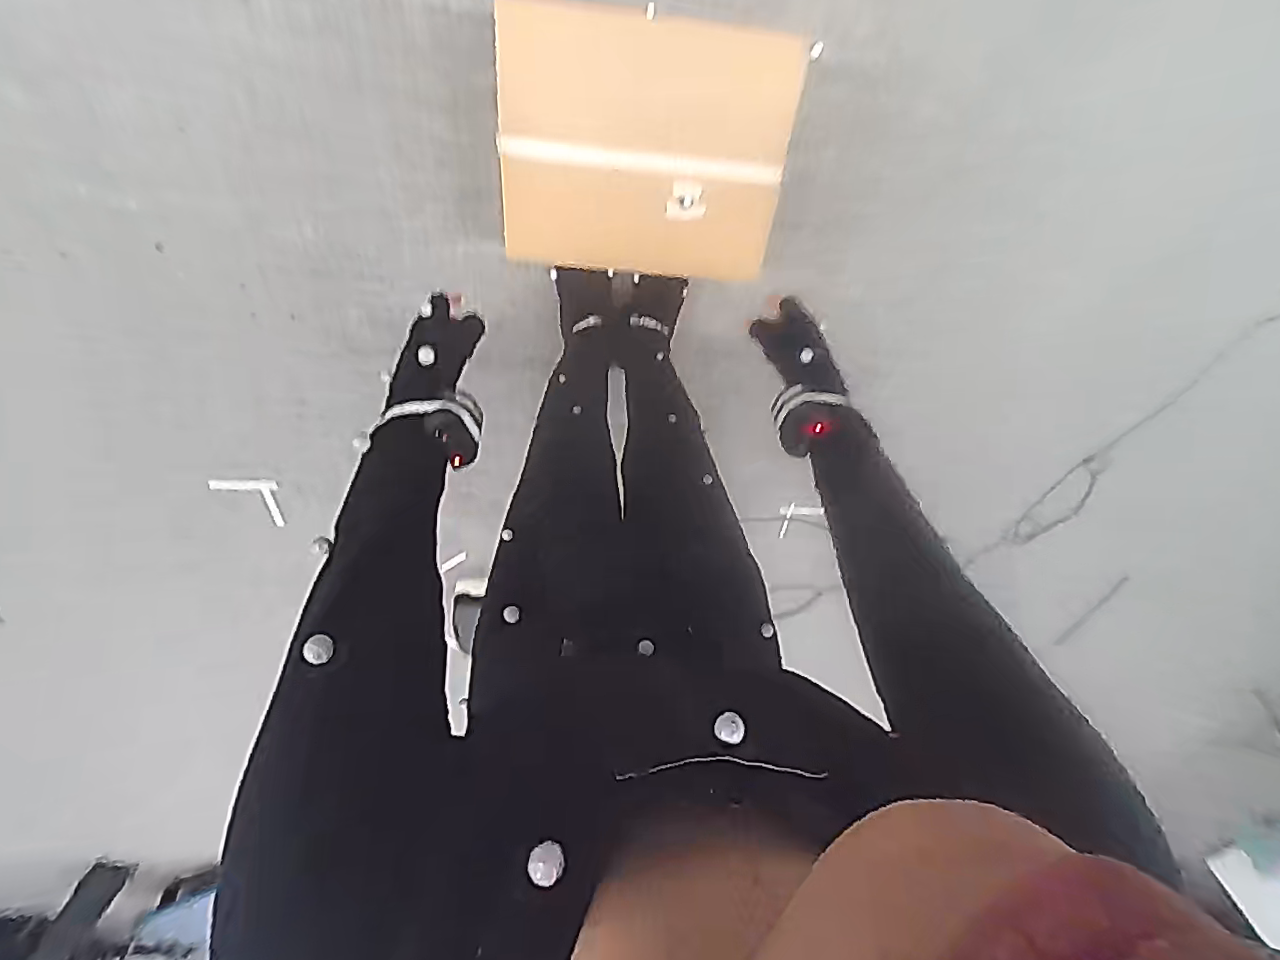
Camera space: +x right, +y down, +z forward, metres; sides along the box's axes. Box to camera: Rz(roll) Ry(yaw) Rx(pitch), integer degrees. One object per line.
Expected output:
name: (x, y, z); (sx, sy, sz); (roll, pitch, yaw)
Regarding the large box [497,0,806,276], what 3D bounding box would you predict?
large box: (-0.003, -0.548, 0.890); (0.408, 0.320, 0.320); (2, 128, -7)
